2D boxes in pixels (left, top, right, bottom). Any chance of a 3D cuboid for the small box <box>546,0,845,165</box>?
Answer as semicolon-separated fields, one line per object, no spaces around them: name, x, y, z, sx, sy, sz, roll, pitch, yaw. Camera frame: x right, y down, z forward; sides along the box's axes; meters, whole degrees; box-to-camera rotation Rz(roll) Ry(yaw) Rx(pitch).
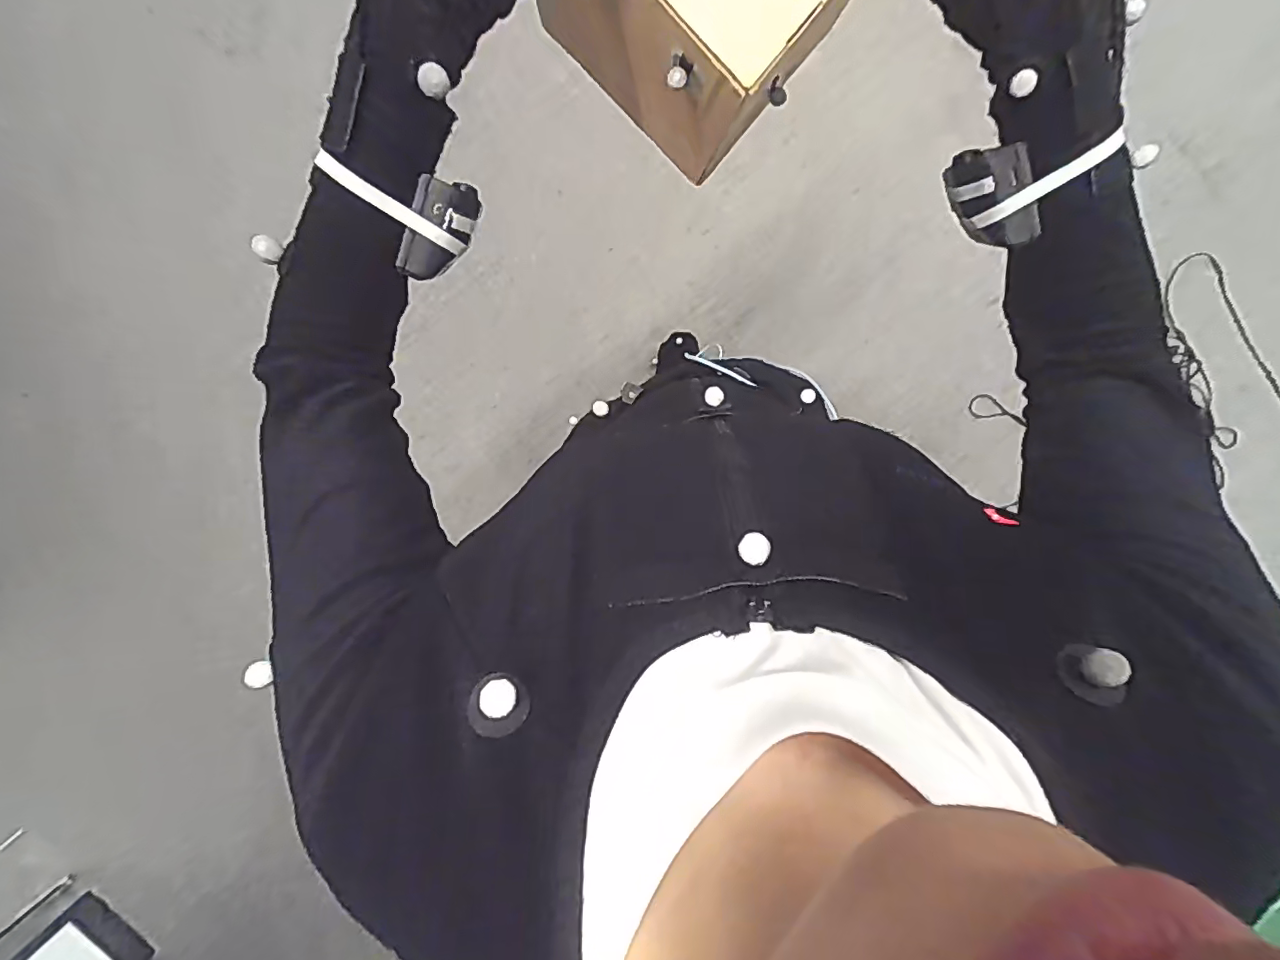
small box;0.044;-0.355;0.359;0.179;0.176;0.168;41;97;-13
